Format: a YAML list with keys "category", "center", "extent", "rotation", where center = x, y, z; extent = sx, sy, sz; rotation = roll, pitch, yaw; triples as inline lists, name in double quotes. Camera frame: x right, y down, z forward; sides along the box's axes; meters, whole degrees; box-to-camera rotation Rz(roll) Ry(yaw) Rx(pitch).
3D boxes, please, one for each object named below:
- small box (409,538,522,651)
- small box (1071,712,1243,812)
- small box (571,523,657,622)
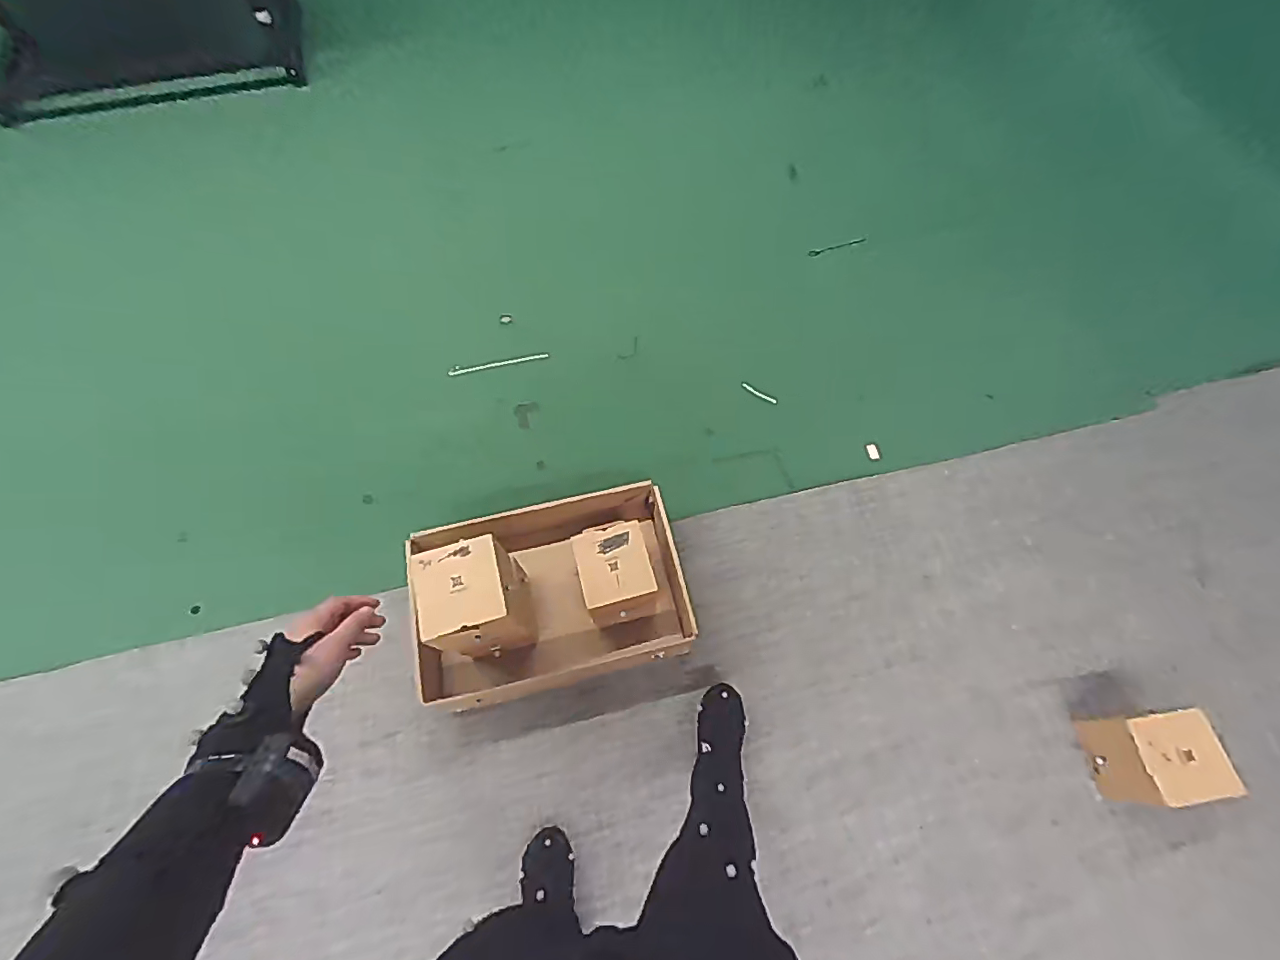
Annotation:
- category: "small box"
  center: [-0.350, 0.242, 1.107]
  extent: [0.168, 0.176, 0.179]
  rotation: [-15, 68, -7]
- category: "small box"
  center: [1.110, 0.607, 1.179]
  extent: [0.179, 0.176, 0.168]
  rotation: [-8, 65, -4]
- category: "small box"
  center: [-0.062, 0.227, 1.294]
  extent: [0.168, 0.176, 0.179]
  rotation: [-14, 68, -6]
